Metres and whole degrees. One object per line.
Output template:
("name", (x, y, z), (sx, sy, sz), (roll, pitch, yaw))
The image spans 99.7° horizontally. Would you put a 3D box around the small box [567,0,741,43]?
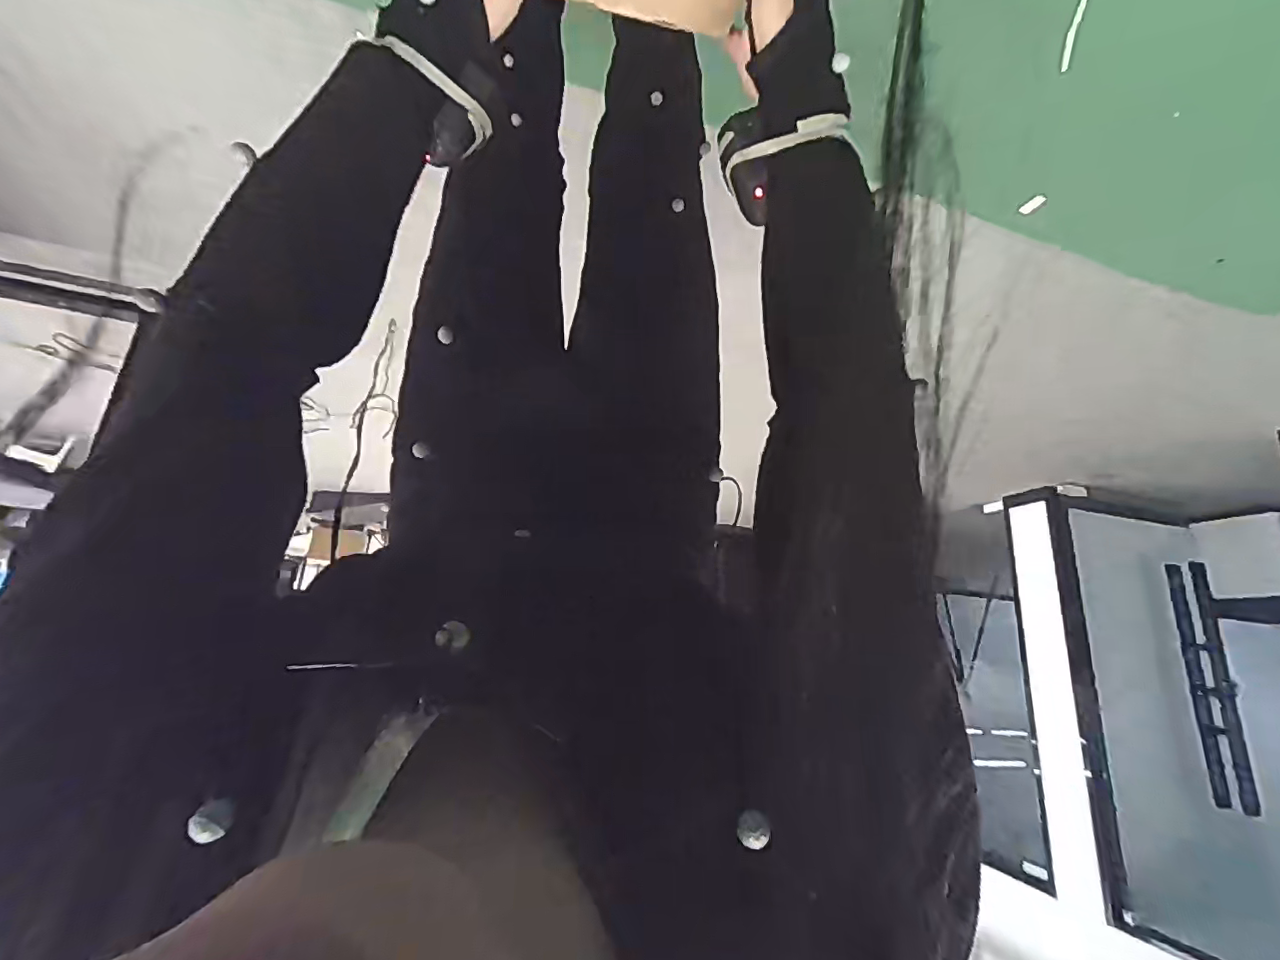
("small box", (0.011, -0.455, 0.356), (0.168, 0.176, 0.179), (7, 162, -10))
